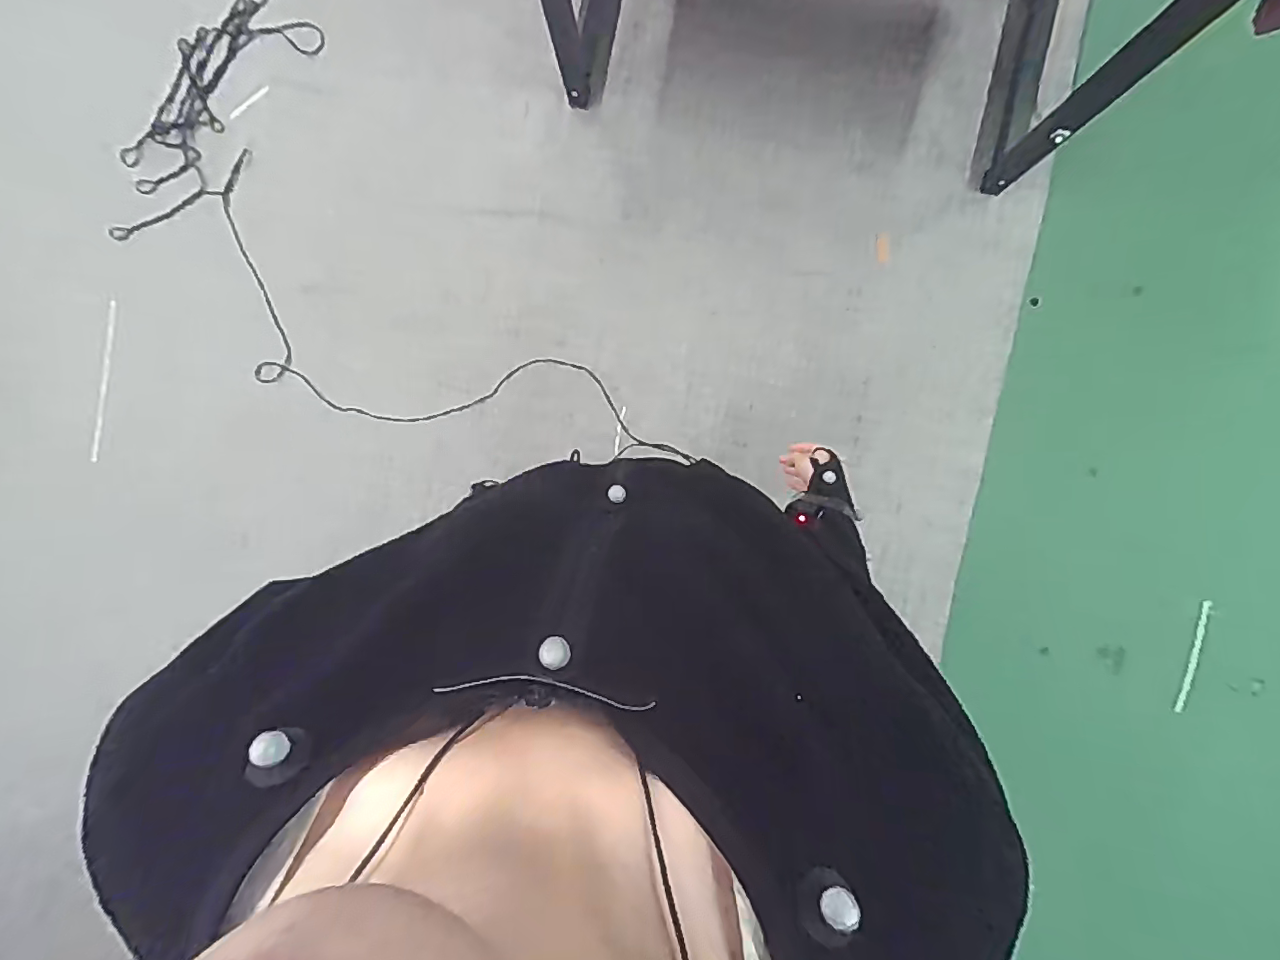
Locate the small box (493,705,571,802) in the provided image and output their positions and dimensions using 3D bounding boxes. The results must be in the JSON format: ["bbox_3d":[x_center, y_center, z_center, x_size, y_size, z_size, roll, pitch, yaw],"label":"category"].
[{"bbox_3d":[-0.293,0.723,1.445,0.179,0.176,0.168,8,91,3],"label":"small box"}]

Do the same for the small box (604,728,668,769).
[{"bbox_3d":[-0.016,0.781,1.422,0.168,0.176,0.179,7,92,5],"label":"small box"}]

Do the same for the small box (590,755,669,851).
[{"bbox_3d":[-0.028,0.771,1.260,0.179,0.176,0.168,8,90,5],"label":"small box"}]
